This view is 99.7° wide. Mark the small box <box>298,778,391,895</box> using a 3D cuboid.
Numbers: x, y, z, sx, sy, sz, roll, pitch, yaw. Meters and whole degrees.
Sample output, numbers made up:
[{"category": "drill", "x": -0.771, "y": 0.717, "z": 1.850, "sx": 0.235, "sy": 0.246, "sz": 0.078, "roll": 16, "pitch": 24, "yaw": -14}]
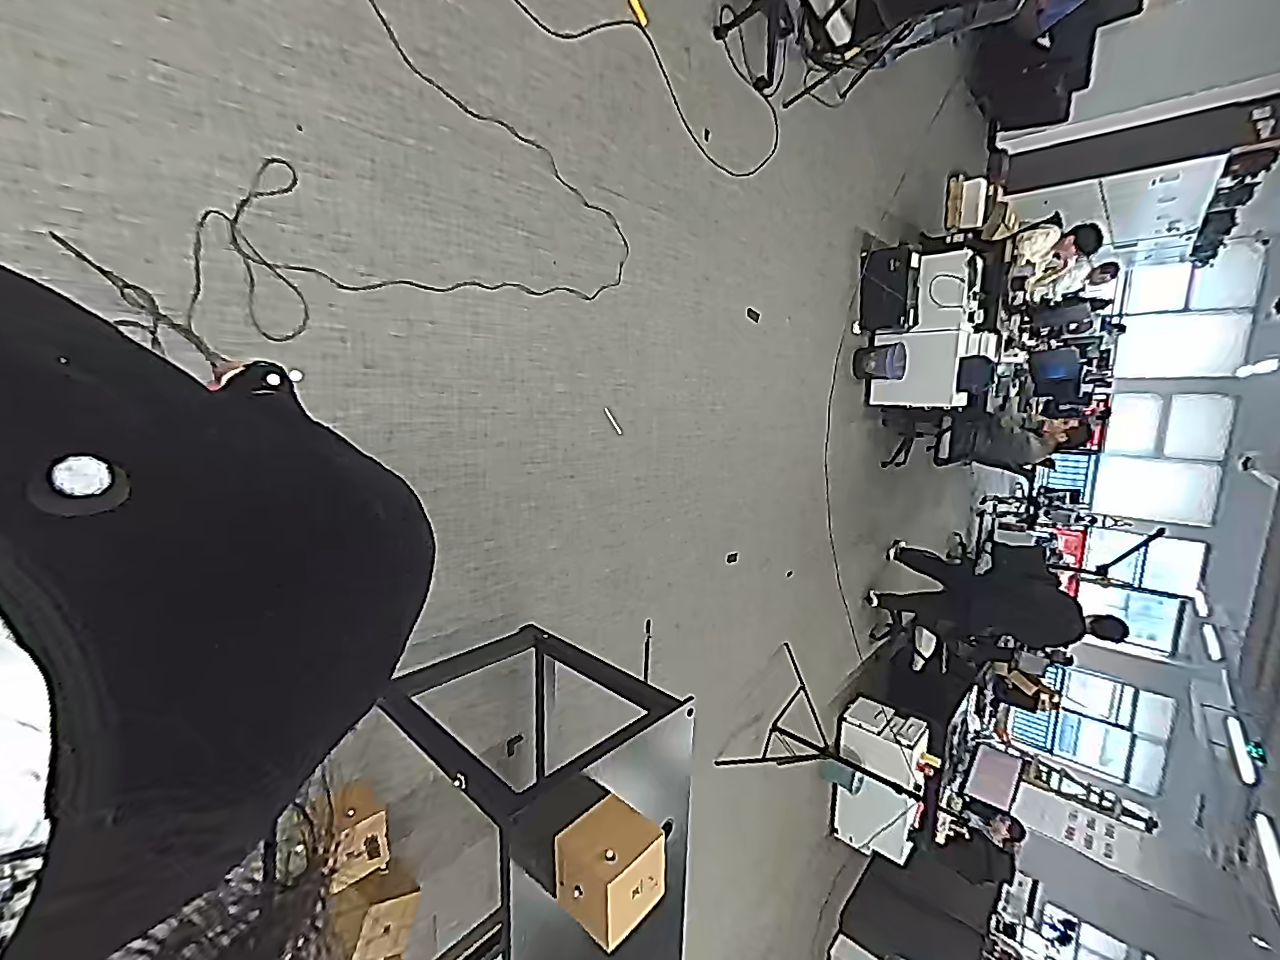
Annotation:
[{"category": "small box", "x": -0.810, "y": 0.963, "z": 1.483, "sx": 0.179, "sy": 0.176, "sz": 0.168, "roll": -10, "pitch": 104, "yaw": -45}]

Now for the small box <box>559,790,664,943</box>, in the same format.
[{"category": "small box", "x": -0.065, "y": 0.832, "z": 1.184, "sx": 0.179, "sy": 0.176, "sz": 0.168, "roll": -12, "pitch": 107, "yaw": -47}]

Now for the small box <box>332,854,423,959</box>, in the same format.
[{"category": "small box", "x": -0.772, "y": 1.246, "z": 1.580, "sx": 0.168, "sy": 0.176, "sz": 0.179, "roll": 22, "pitch": 80, "yaw": -48}]
